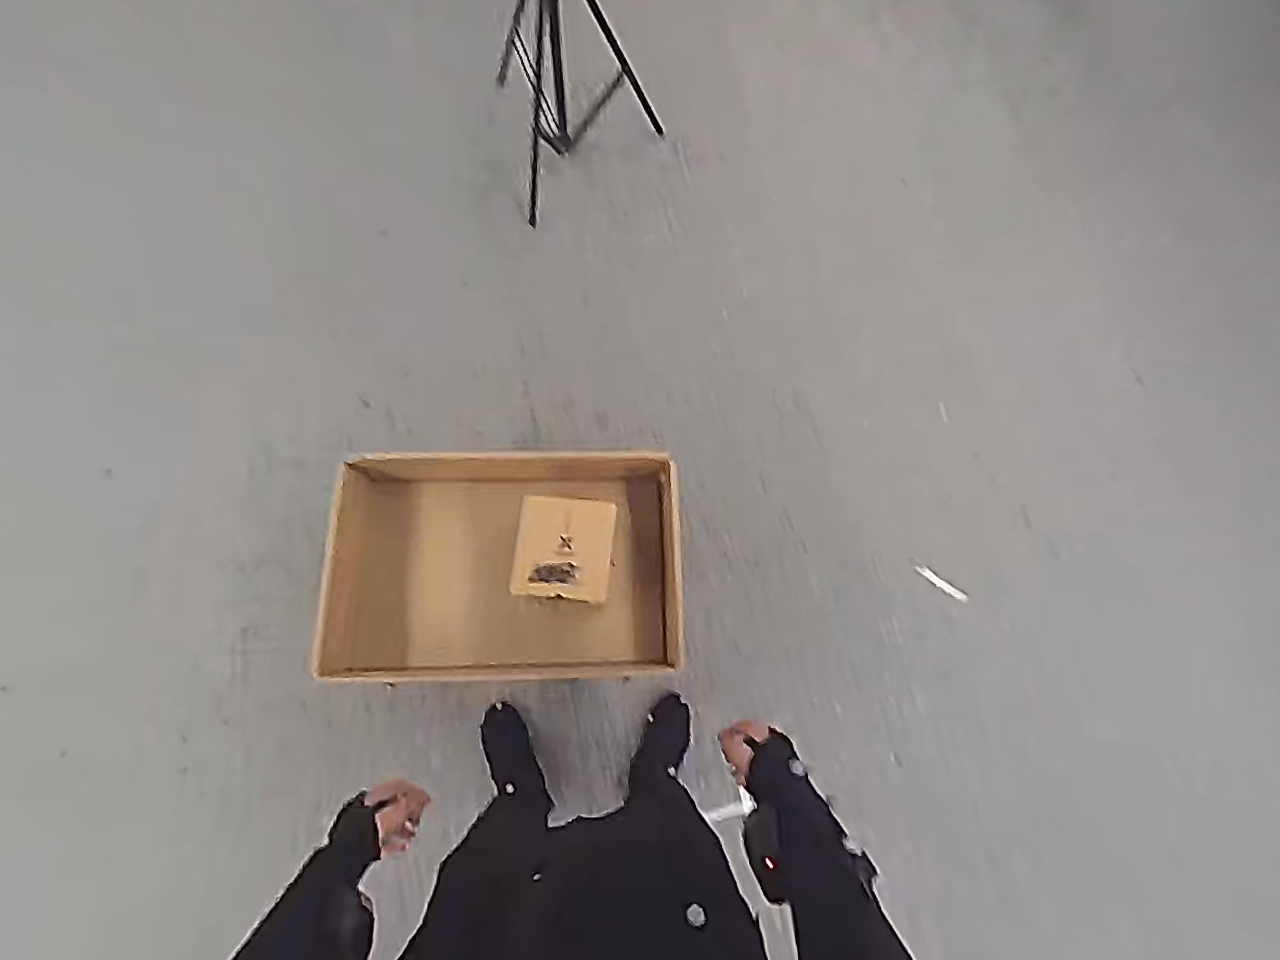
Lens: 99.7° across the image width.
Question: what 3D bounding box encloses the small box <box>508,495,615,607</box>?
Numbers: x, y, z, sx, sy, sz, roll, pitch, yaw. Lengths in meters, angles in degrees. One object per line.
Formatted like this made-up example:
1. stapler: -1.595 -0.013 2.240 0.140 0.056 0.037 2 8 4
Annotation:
1. small box: -0.135 0.139 1.004 0.168 0.176 0.179 6 74 -2
